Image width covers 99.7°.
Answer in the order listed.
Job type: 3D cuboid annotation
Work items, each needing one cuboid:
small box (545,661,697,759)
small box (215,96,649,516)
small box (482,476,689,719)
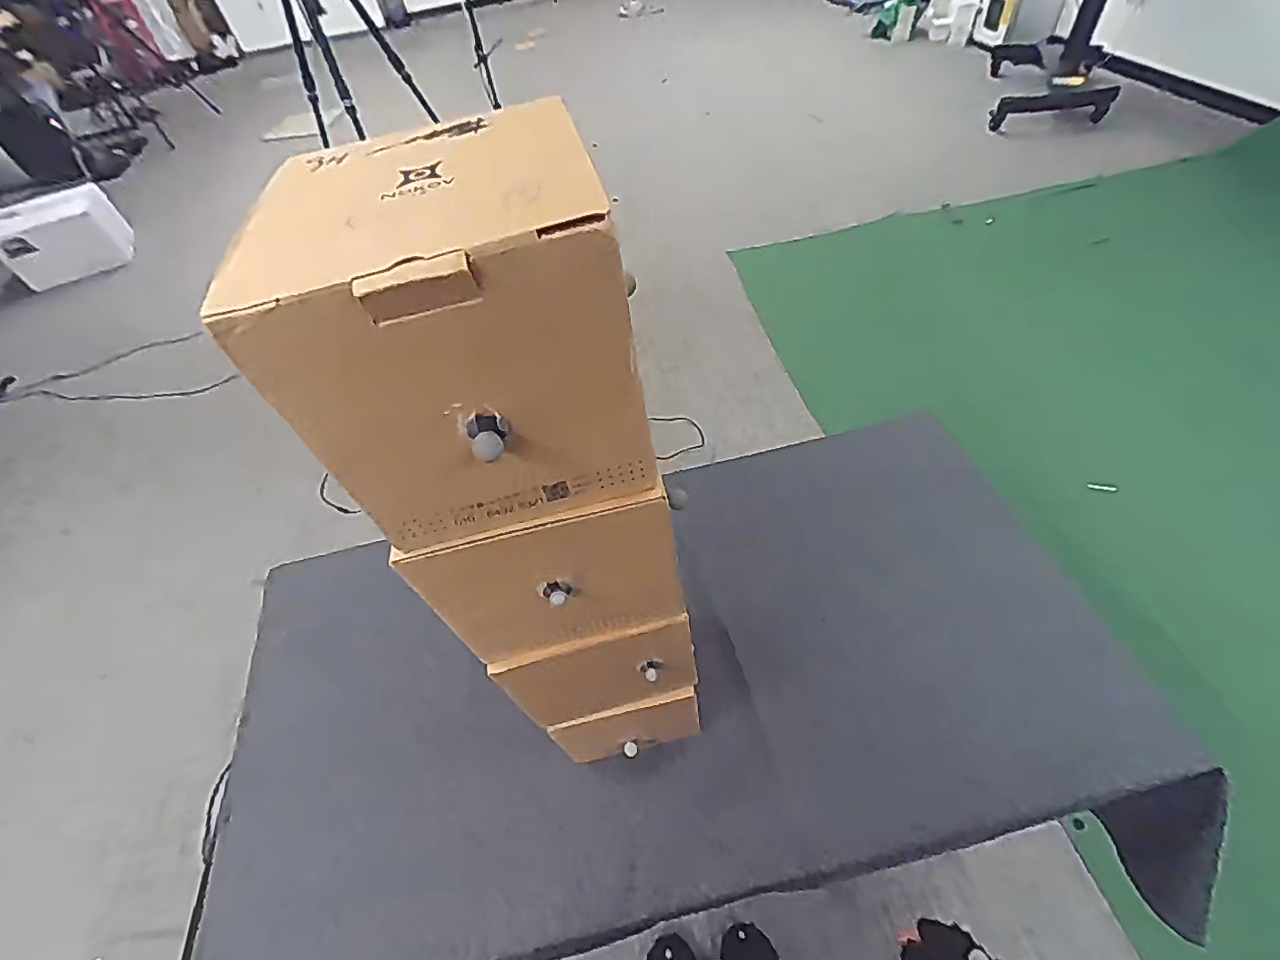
[{"bbox_3d":[-0.028,0.230,0.690,0.168,0.176,0.179,-13,51,-1],"label":"small box"},{"bbox_3d":[-0.097,-0.096,0.330,0.168,0.176,0.179,-14,50,-2],"label":"small box"},{"bbox_3d":[-0.052,0.126,0.566,0.179,0.176,0.168,-15,49,-3],"label":"small box"}]
